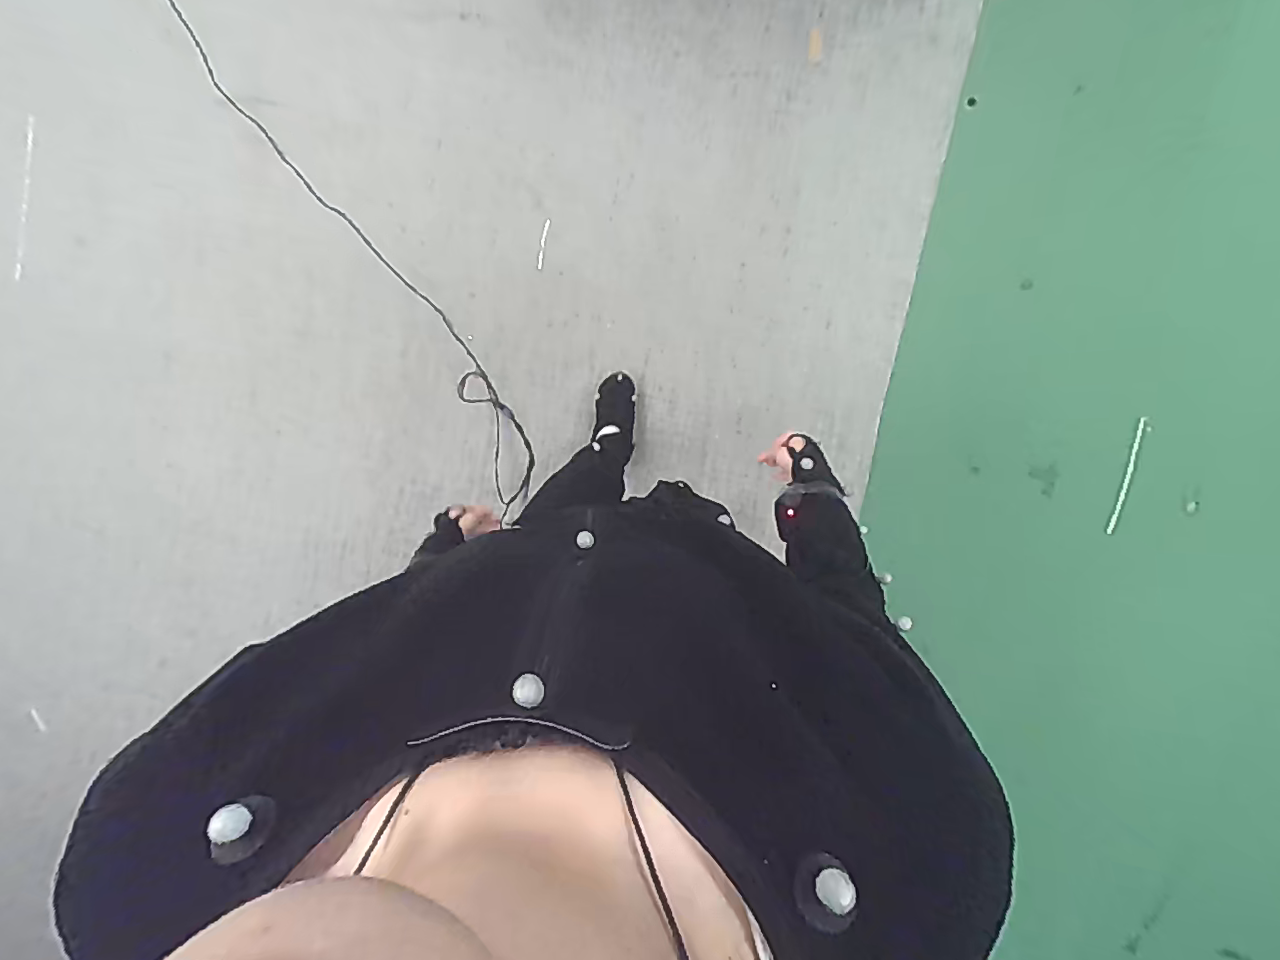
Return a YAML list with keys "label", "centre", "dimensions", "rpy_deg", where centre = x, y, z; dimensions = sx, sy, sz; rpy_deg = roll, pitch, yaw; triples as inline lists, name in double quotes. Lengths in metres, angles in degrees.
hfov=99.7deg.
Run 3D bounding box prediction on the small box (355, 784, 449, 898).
- label: "small box"
  centre: [-0.595, 0.897, 1.348]
  dimensions: [0.168, 0.176, 0.179]
  rpy_deg: [10, 94, 3]
